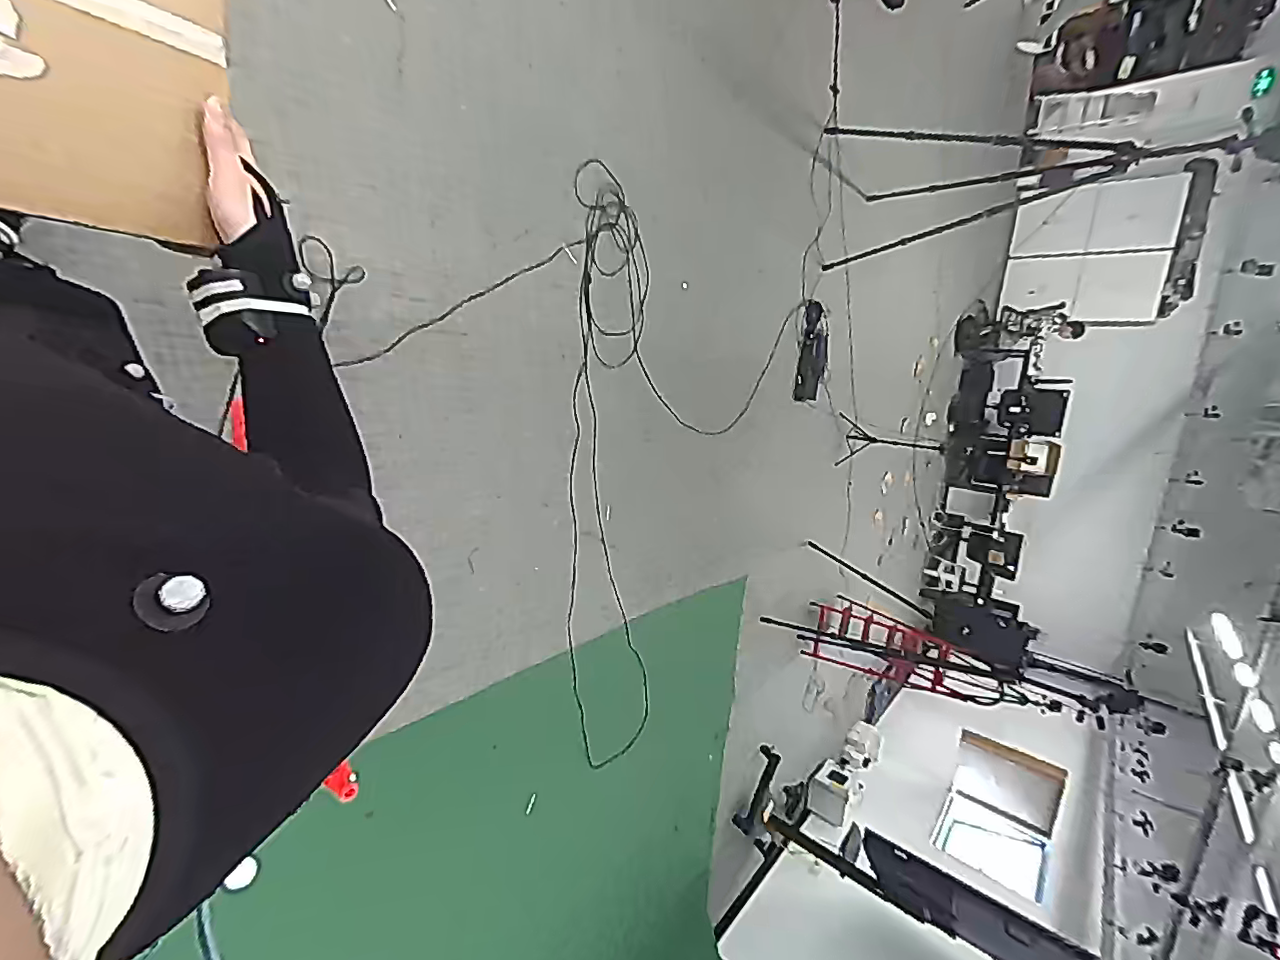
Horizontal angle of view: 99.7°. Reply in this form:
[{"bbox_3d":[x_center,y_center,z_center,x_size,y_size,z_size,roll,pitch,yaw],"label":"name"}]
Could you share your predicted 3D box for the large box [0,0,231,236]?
[{"bbox_3d":[-0.588,-0.399,0.395,0.408,0.320,0.320,-8,119,-49],"label":"large box"}]
